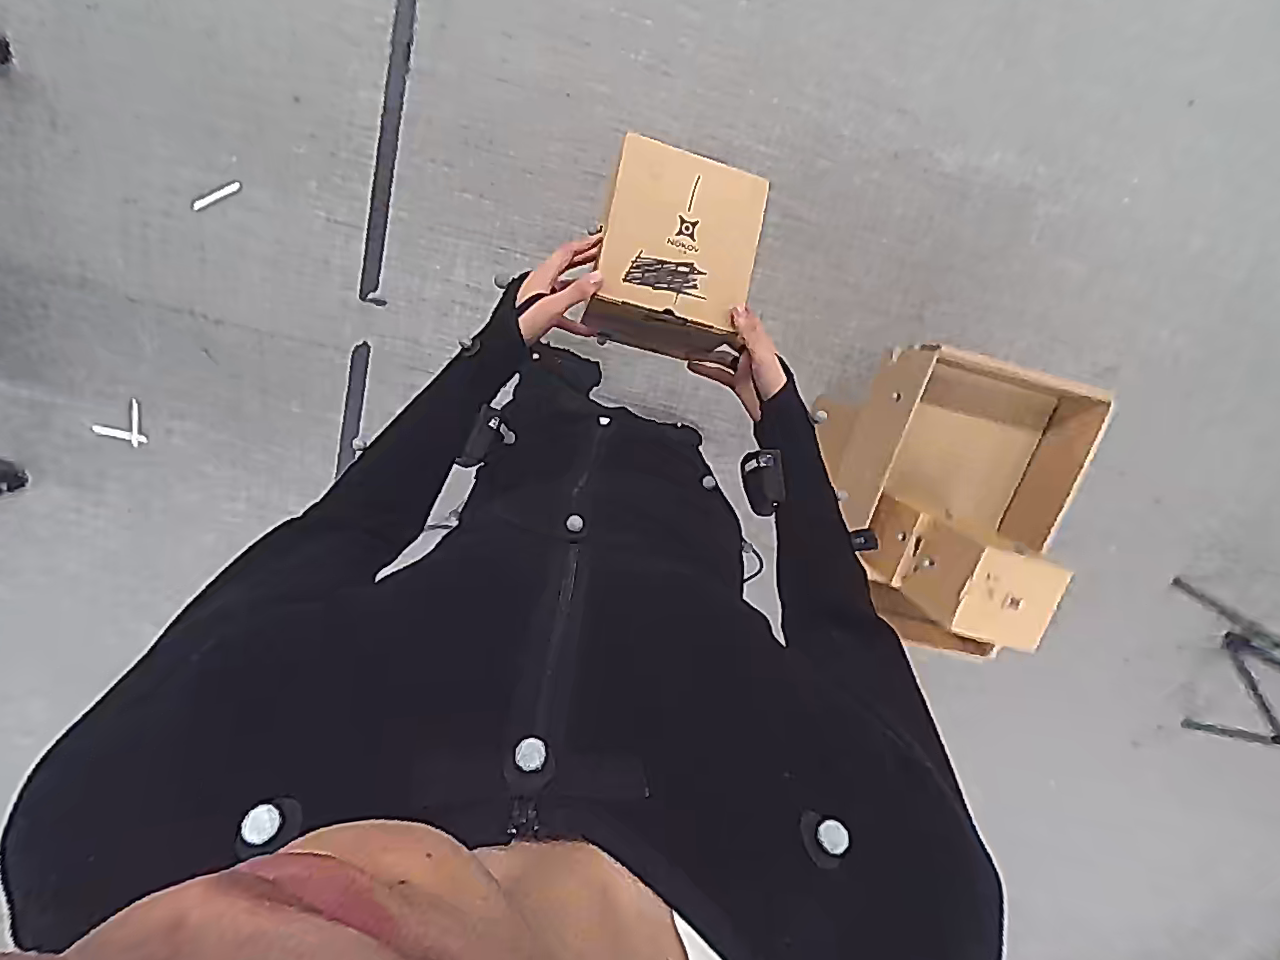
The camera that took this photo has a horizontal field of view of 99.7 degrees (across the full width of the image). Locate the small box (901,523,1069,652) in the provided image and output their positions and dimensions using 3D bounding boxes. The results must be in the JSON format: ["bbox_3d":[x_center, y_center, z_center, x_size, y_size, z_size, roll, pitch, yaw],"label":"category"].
[{"bbox_3d":[0.644,0.196,1.031,0.179,0.176,0.168,16,102,-6],"label":"small box"}]

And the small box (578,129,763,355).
[{"bbox_3d":[0.024,-0.261,0.643,0.168,0.176,0.179,11,89,-12],"label":"small box"}]
